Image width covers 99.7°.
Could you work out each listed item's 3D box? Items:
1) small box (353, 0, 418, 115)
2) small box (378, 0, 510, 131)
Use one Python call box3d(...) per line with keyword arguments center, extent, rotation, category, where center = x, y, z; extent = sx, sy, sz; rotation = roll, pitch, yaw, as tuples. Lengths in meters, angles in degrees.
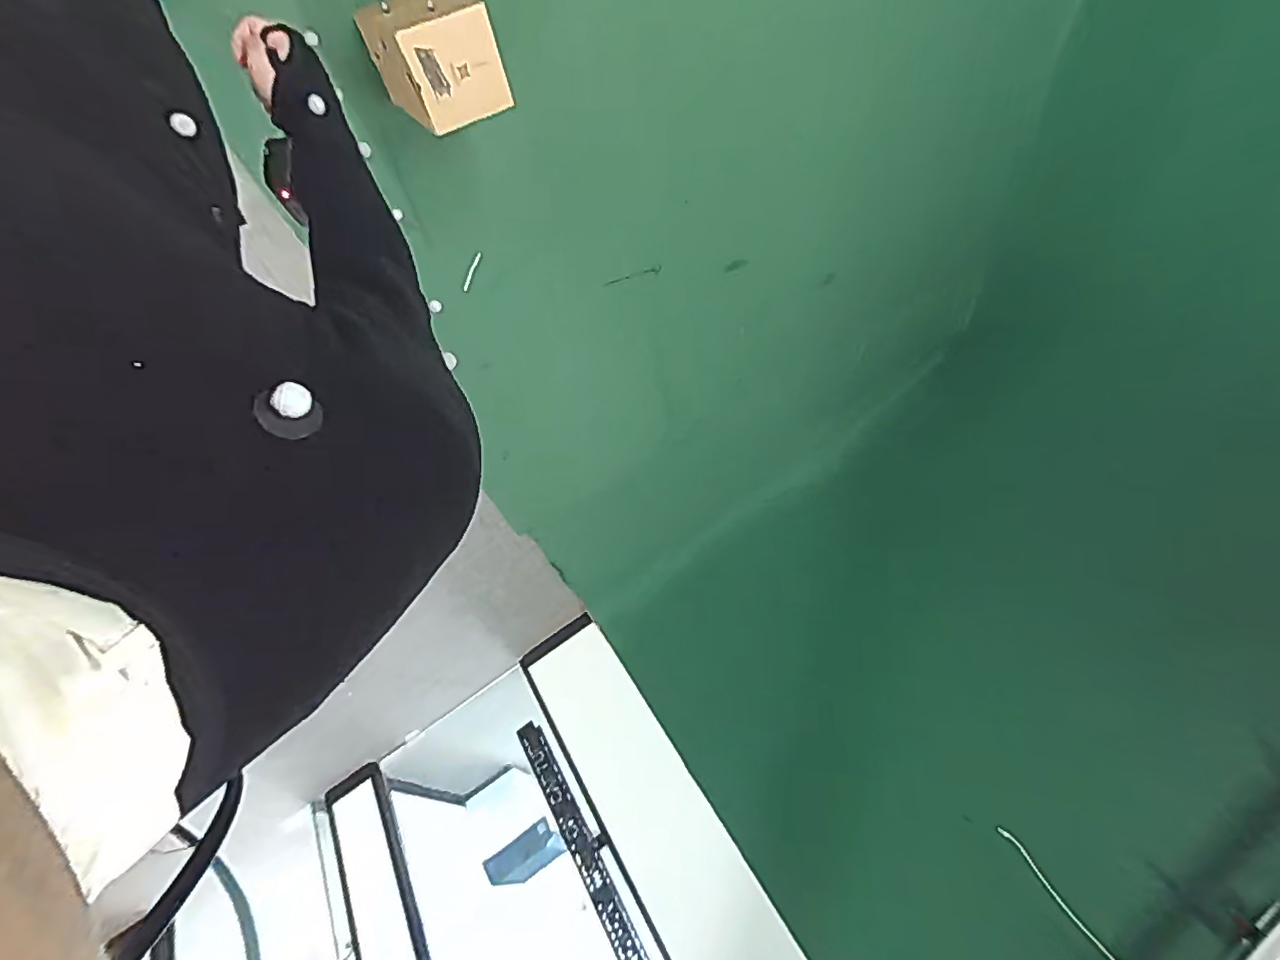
box3d(center=(-0.472, -0.918, 1.149), extent=(0.179, 0.176, 0.168), rotation=(-31, 144, -12), category="small box")
box3d(center=(-0.386, -0.816, 1.054), extent=(0.179, 0.176, 0.168), rotation=(-31, 144, -13), category="small box")
